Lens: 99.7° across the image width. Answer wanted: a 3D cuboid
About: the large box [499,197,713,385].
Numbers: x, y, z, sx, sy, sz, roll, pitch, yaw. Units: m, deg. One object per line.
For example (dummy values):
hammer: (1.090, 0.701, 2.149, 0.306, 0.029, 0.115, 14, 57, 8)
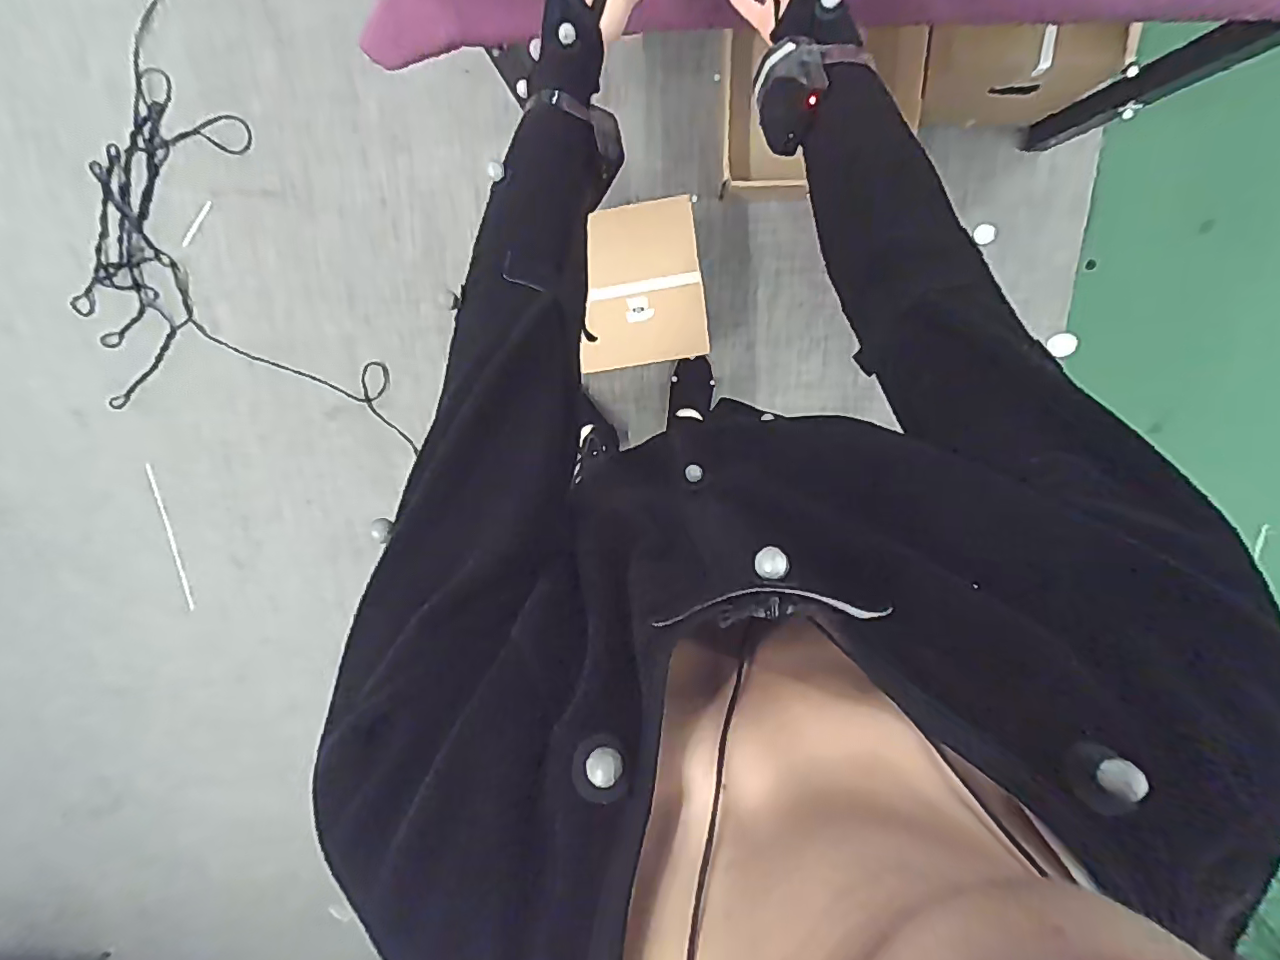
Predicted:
large box: (-0.063, -0.414, 1.250, 0.408, 0.320, 0.320, -8, 105, 4)
